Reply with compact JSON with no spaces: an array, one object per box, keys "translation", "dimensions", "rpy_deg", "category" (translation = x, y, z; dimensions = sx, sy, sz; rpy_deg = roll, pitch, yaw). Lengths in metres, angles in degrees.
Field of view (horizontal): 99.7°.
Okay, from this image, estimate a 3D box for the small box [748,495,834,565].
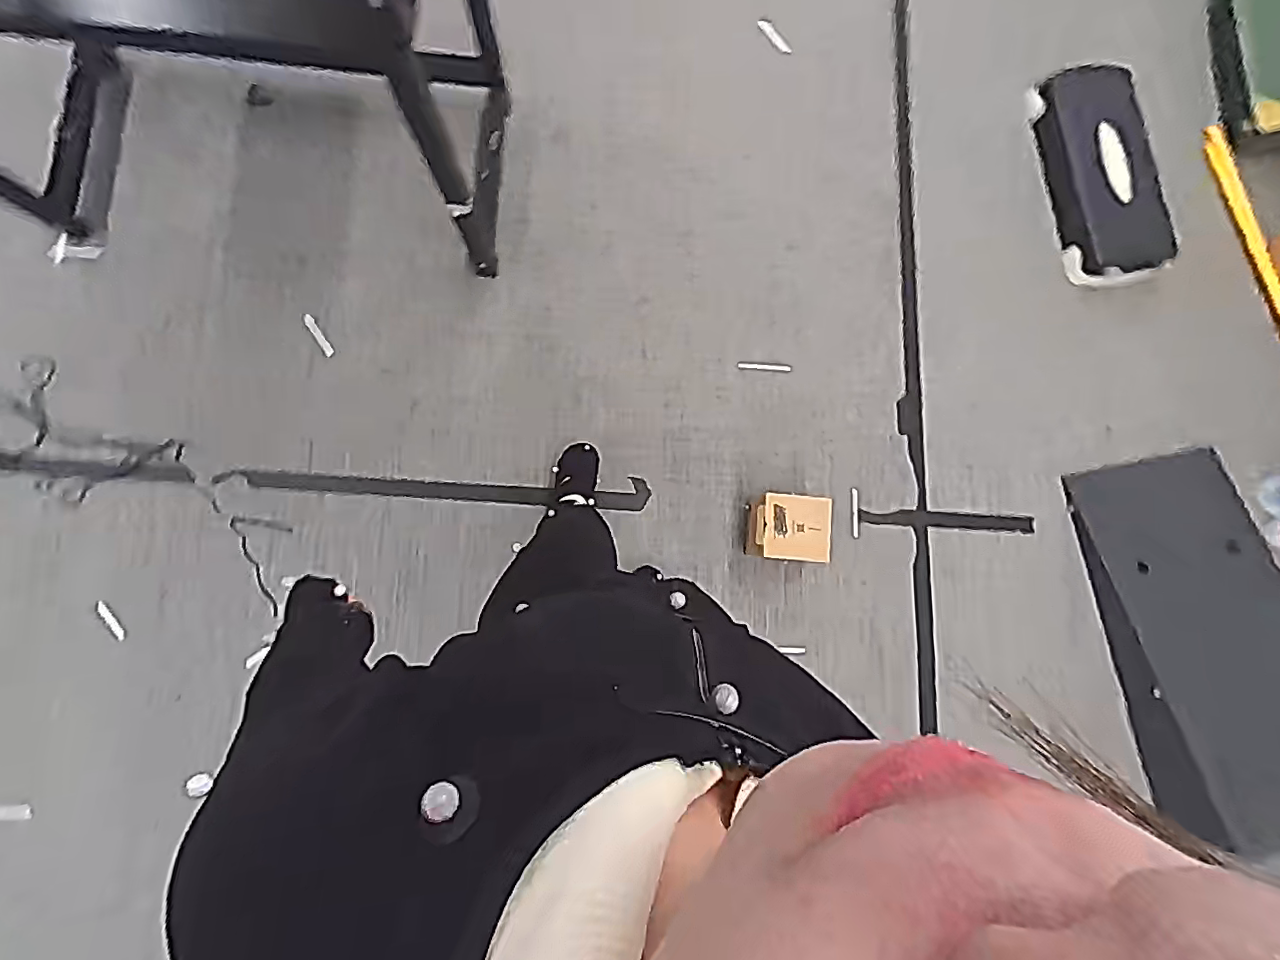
[{"translation":[0.394,0.135,1.434],"dimensions":[0.179,0.176,0.168],"rpy_deg":[5,83,-3],"category":"small box"}]
